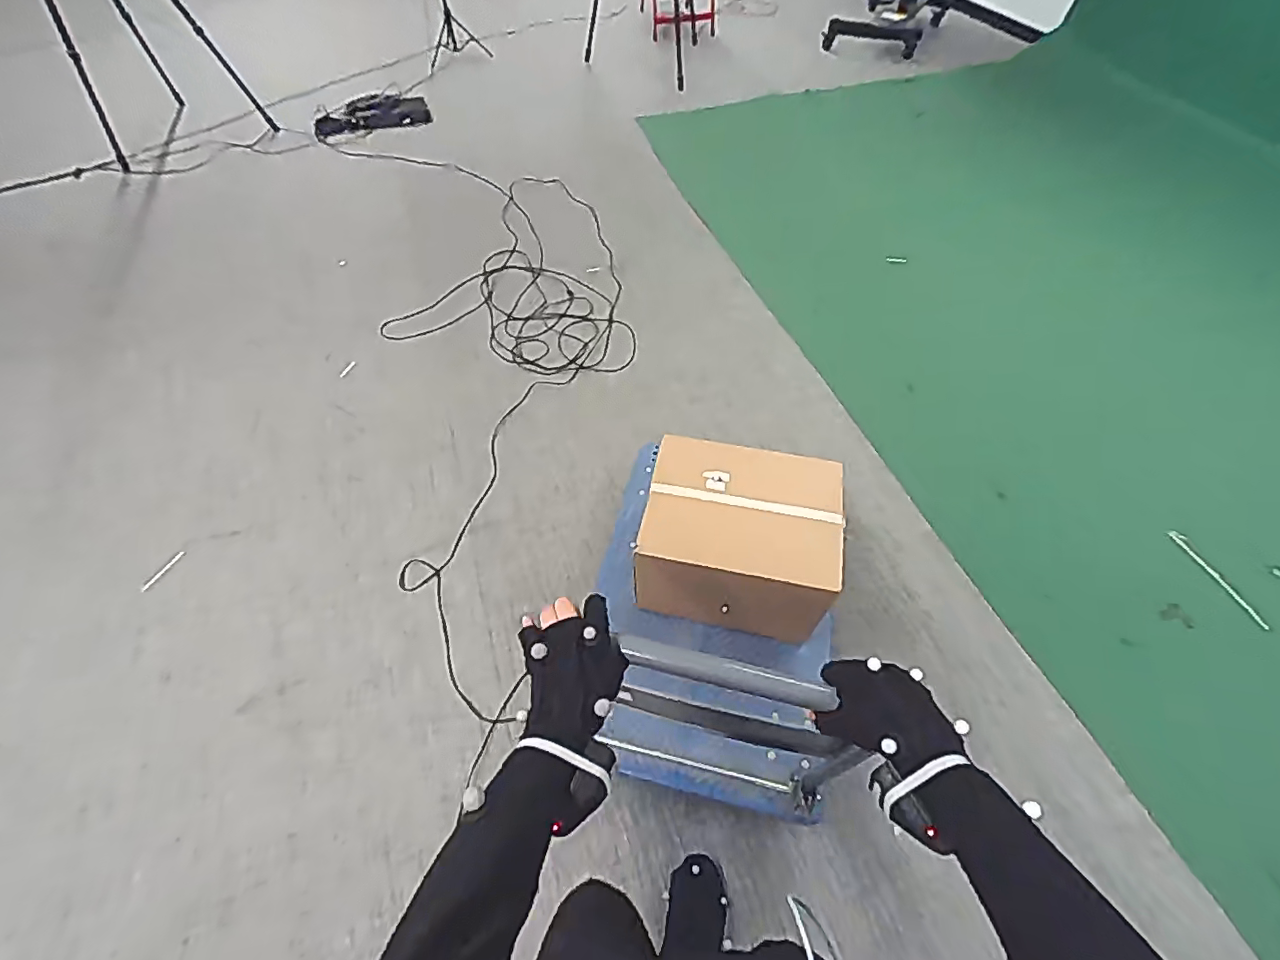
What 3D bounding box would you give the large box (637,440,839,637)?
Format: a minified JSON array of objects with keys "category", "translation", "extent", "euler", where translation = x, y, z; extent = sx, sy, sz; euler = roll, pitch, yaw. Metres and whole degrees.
[{"category":"large box","translation":[0.223,0.142,1.263],"extent":[0.408,0.320,0.320],"euler":[9,56,8]}]
